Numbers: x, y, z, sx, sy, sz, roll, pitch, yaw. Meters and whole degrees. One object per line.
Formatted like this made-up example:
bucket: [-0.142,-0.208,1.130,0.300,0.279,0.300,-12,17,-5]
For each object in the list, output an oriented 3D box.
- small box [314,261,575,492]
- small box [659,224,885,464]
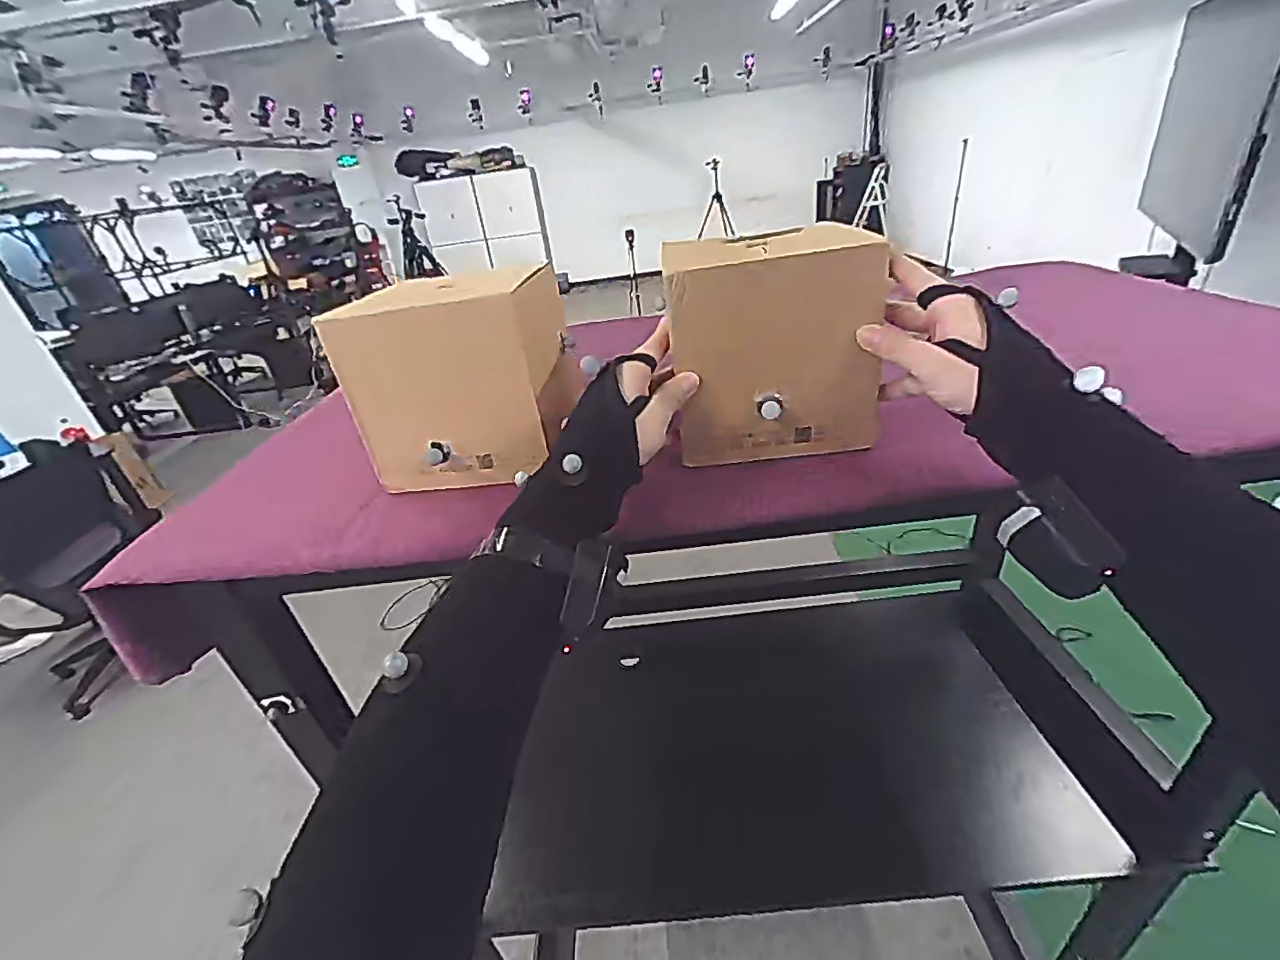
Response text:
small box: [-0.166,-0.105,0.530,0.168,0.176,0.179,-6,30,6]
small box: [0.108,-0.131,0.504,0.168,0.176,0.179,-6,30,6]
